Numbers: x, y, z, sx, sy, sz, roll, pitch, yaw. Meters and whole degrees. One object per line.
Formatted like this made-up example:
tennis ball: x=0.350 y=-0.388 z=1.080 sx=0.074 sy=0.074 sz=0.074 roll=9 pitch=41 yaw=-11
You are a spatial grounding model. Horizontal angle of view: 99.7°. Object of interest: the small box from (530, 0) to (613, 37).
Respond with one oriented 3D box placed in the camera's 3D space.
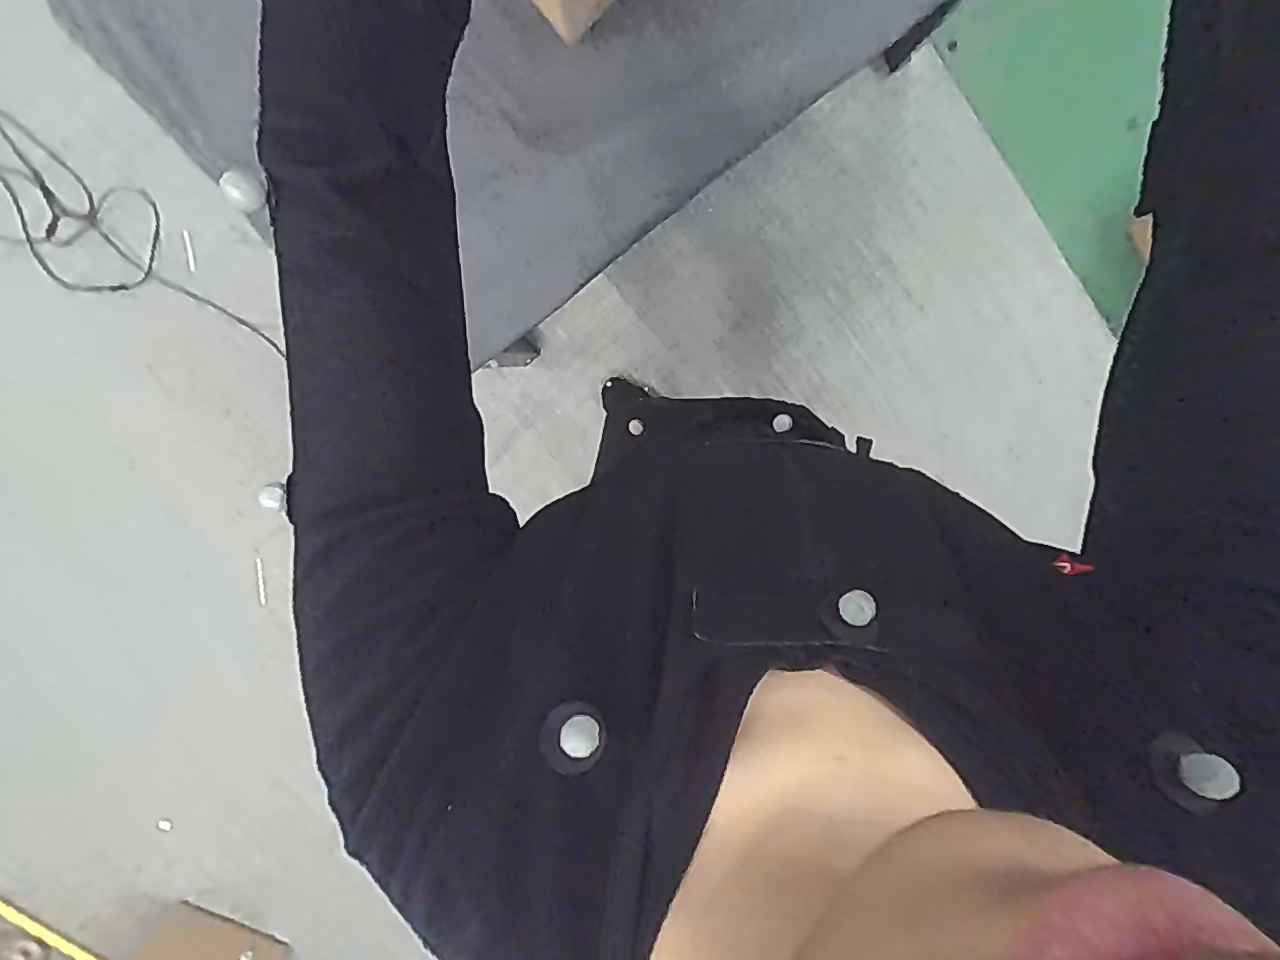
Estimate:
small box: x=-0.081 y=-0.596 z=0.518 sx=0.168 sy=0.176 sz=0.179 roll=-41 pitch=99 yaw=8
